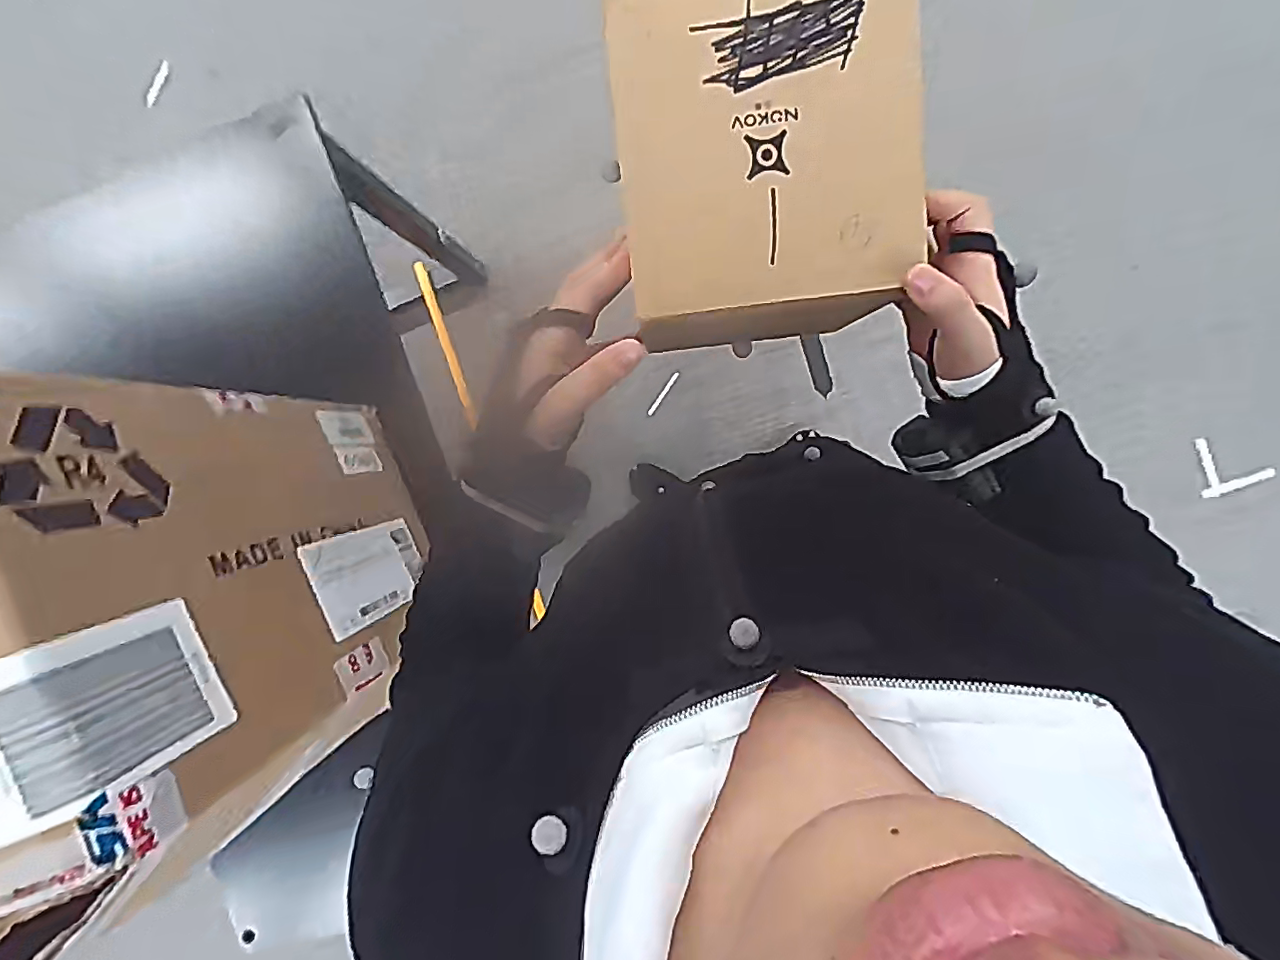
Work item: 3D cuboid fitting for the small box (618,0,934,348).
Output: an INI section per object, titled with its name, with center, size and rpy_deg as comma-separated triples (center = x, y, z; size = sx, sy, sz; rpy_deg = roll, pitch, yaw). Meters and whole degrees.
[small box]
center = 0.078, -0.198, 0.375
size = 0.168, 0.176, 0.179
rpy_deg = -6, 97, 4
